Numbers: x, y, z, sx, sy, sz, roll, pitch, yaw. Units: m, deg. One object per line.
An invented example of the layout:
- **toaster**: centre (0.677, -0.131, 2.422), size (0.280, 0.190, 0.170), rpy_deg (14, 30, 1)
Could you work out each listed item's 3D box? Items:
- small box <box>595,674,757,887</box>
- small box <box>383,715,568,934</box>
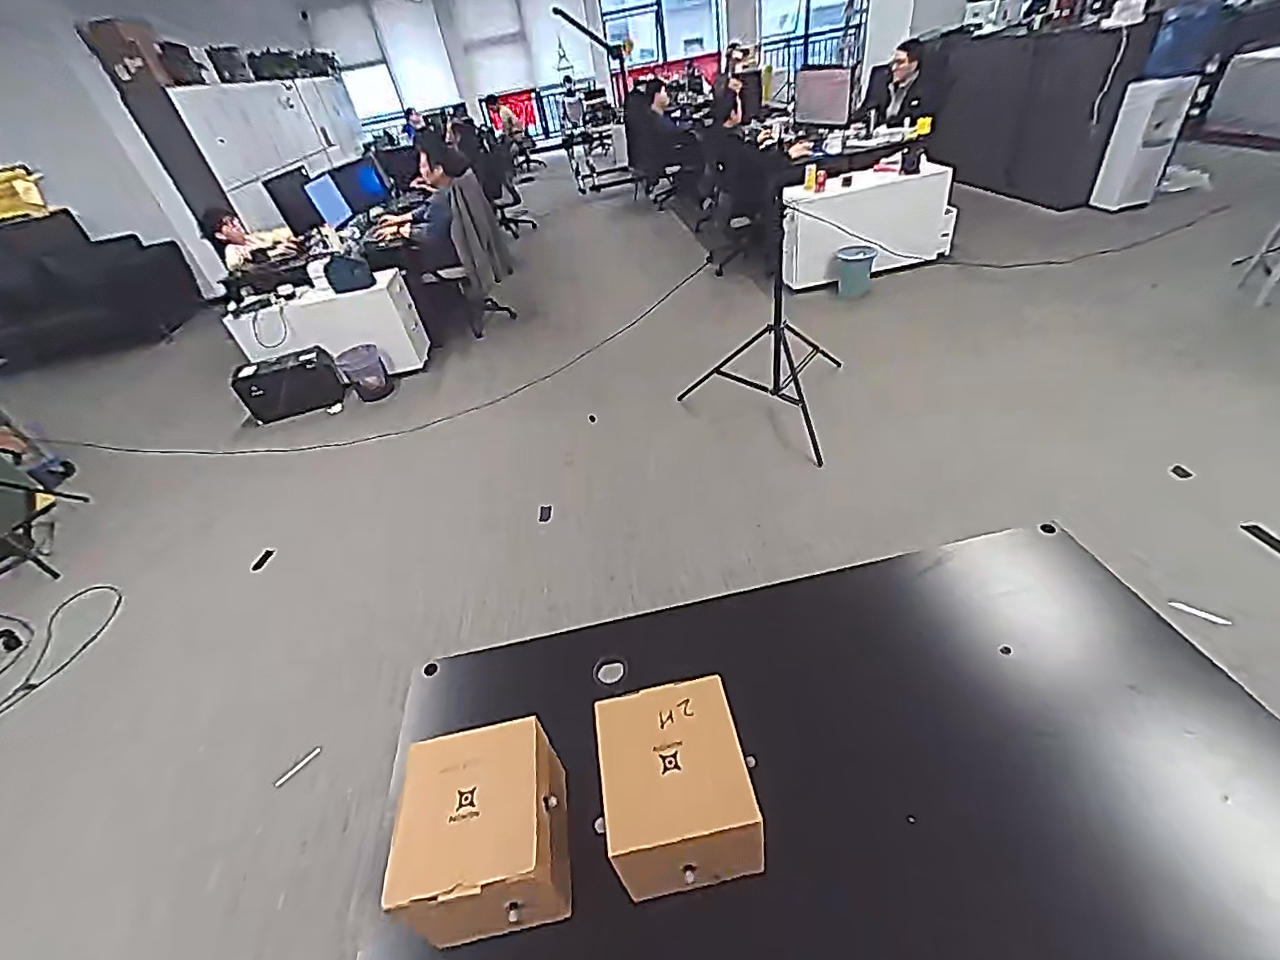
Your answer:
- **small box**: centre (0.045, 0.379, 0.677), size (0.168, 0.176, 0.179), rpy_deg (-12, 38, -1)
- **small box**: centre (-0.189, 0.431, 0.674), size (0.168, 0.176, 0.179), rpy_deg (-12, 37, -3)
